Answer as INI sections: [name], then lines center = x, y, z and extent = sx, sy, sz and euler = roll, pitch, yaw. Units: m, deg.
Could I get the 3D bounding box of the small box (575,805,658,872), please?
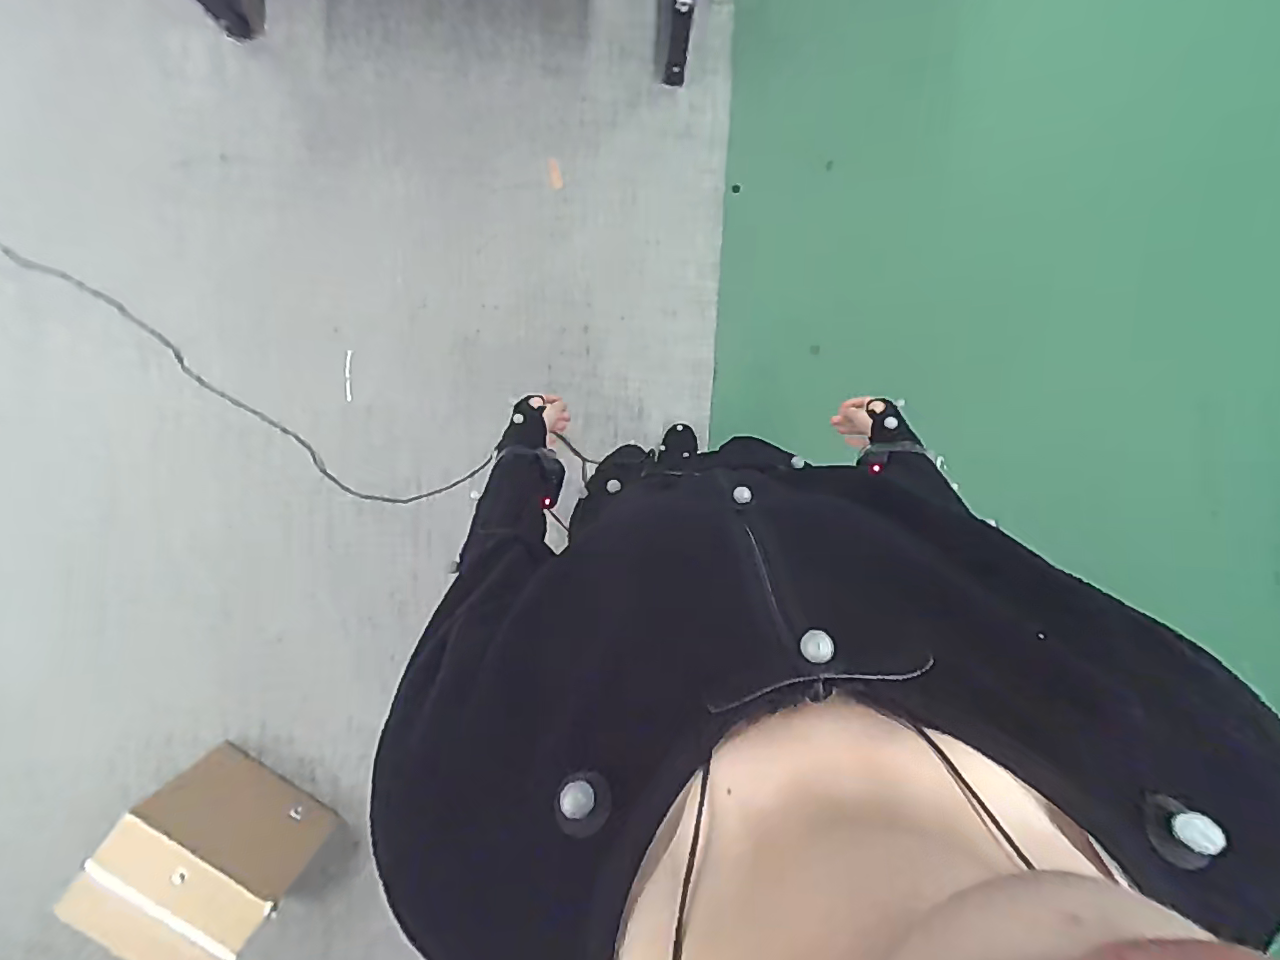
[small box]
center = -0.046, 0.827, 1.156
extent = 0.168, 0.176, 0.179
euler = -5, 93, -1
